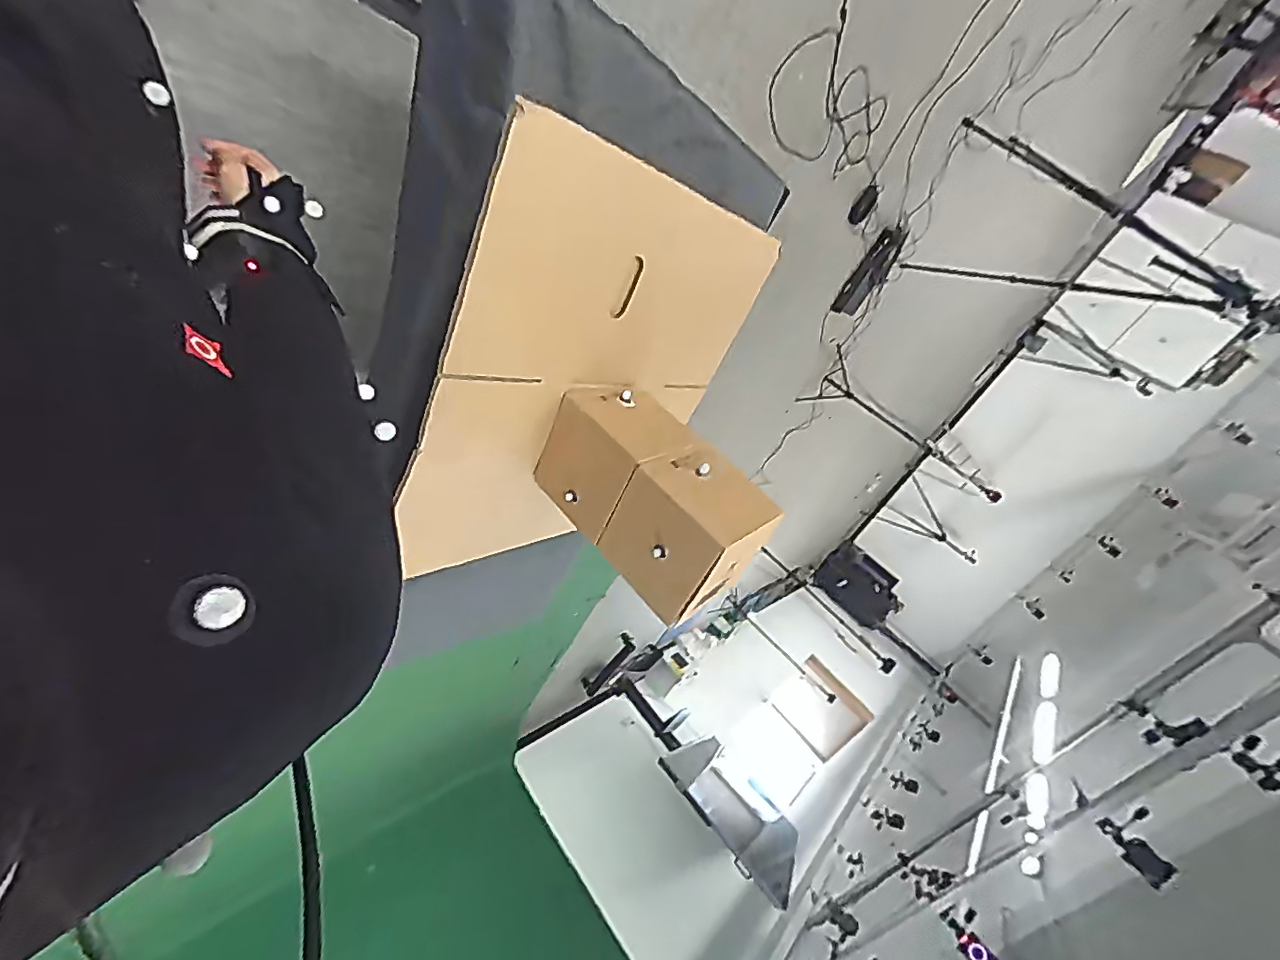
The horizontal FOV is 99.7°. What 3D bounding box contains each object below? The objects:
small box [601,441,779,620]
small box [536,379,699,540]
[{"bbox_3d":[0.066,0.068,0.807,0.168,0.176,0.179,-20,146,-47],"label":"small box"},{"bbox_3d":[-0.043,-0.039,0.868,0.168,0.176,0.179,-20,145,-47],"label":"small box"}]
